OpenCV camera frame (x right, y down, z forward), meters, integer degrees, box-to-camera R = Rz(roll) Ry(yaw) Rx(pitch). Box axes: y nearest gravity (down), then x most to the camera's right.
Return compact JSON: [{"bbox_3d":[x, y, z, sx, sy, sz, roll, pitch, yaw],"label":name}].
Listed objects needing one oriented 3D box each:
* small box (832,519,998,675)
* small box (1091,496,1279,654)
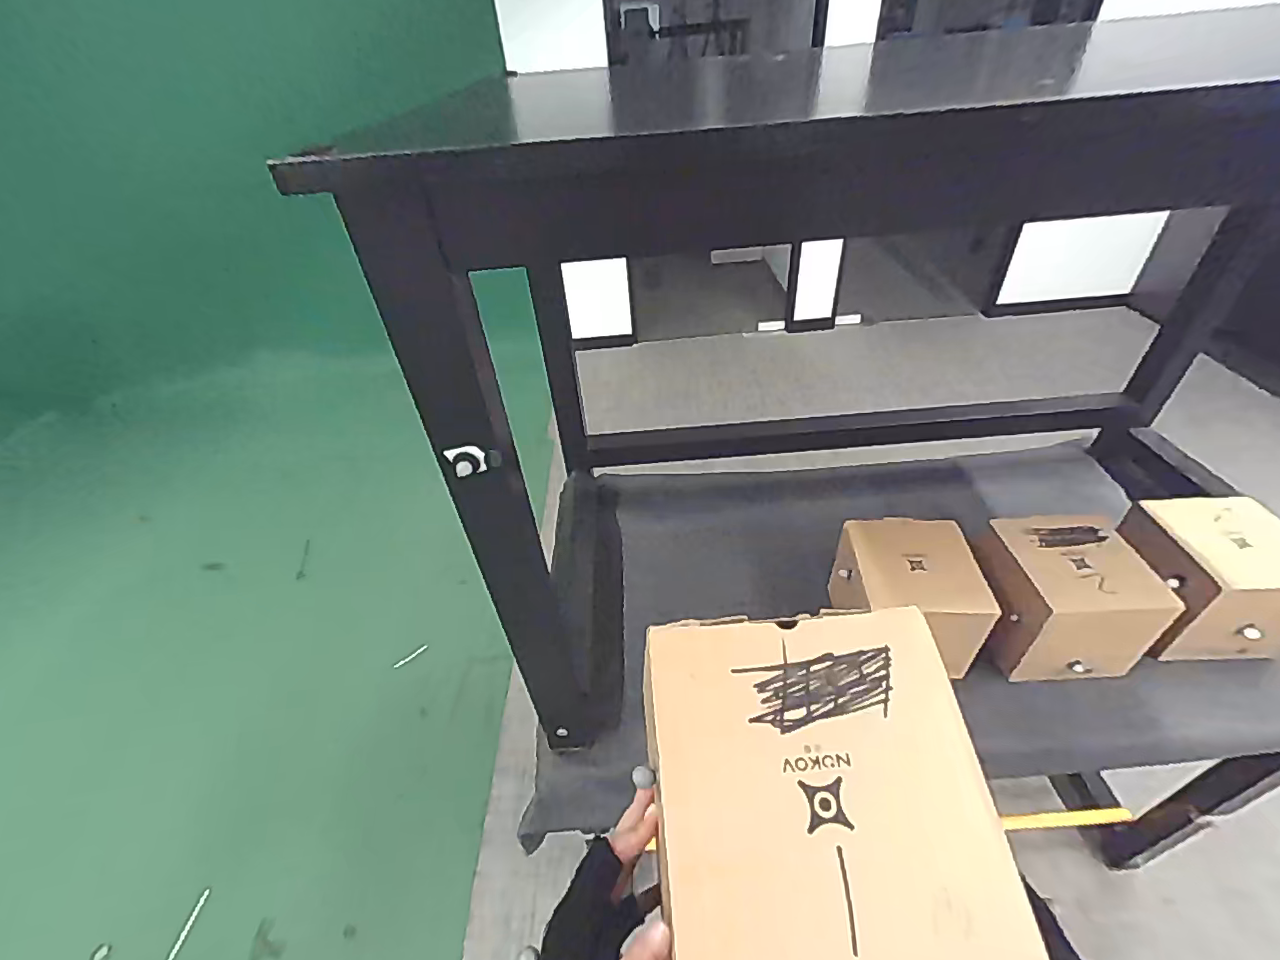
[{"bbox_3d":[0.402,0.178,0.826,0.168,0.176,0.179,0,40,6],"label":"small box"},{"bbox_3d":[0.842,0.145,0.809,0.168,0.176,0.179,-2,39,4],"label":"small box"}]
